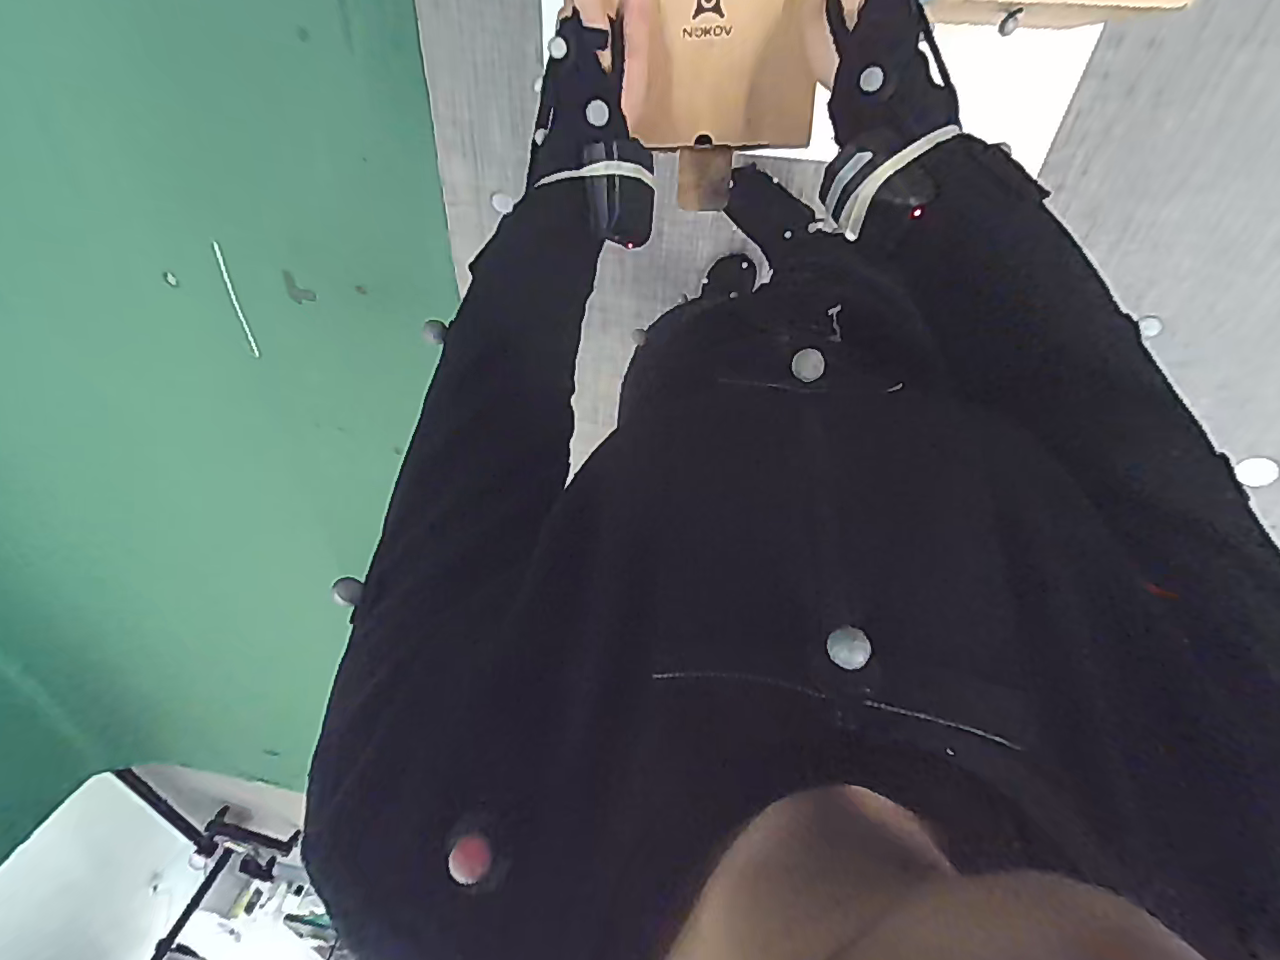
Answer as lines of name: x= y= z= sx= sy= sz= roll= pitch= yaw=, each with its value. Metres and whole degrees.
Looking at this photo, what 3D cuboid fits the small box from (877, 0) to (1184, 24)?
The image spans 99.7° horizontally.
small box: x=0.281 y=-0.426 z=0.369 sx=0.179 sy=0.176 sz=0.168 roll=8 pitch=128 yaw=6
